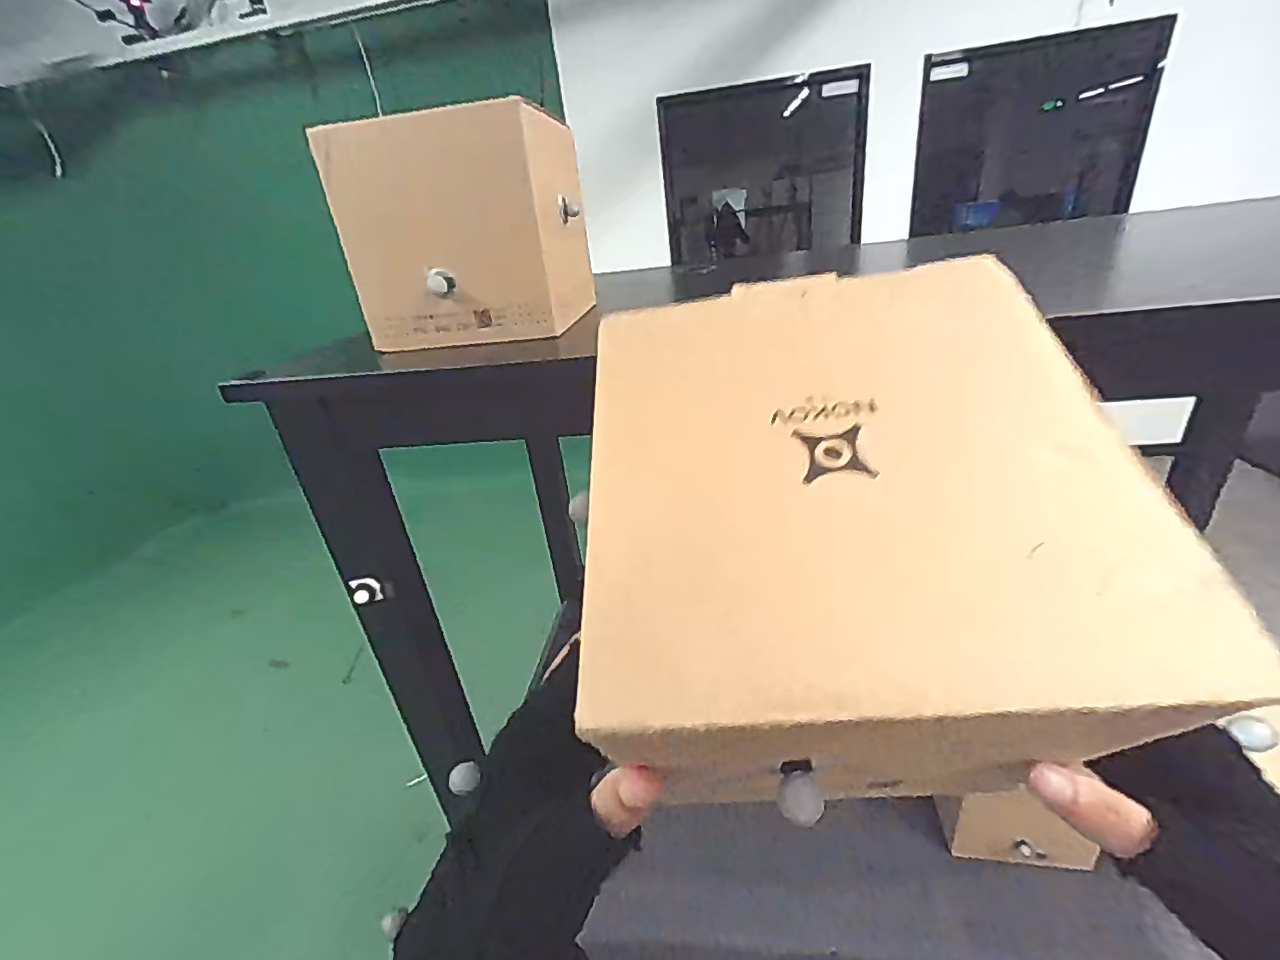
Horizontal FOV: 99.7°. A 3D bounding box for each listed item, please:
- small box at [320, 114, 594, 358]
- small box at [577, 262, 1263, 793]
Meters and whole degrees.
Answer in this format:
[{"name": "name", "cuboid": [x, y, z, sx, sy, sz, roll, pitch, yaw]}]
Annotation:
[{"name": "small box", "cuboid": [-0.144, -0.217, 0.500, 0.168, 0.176, 0.179, -3, 27, 8]}, {"name": "small box", "cuboid": [0.076, 0.036, 0.245, 0.168, 0.176, 0.179, -6, 53, 7]}]
